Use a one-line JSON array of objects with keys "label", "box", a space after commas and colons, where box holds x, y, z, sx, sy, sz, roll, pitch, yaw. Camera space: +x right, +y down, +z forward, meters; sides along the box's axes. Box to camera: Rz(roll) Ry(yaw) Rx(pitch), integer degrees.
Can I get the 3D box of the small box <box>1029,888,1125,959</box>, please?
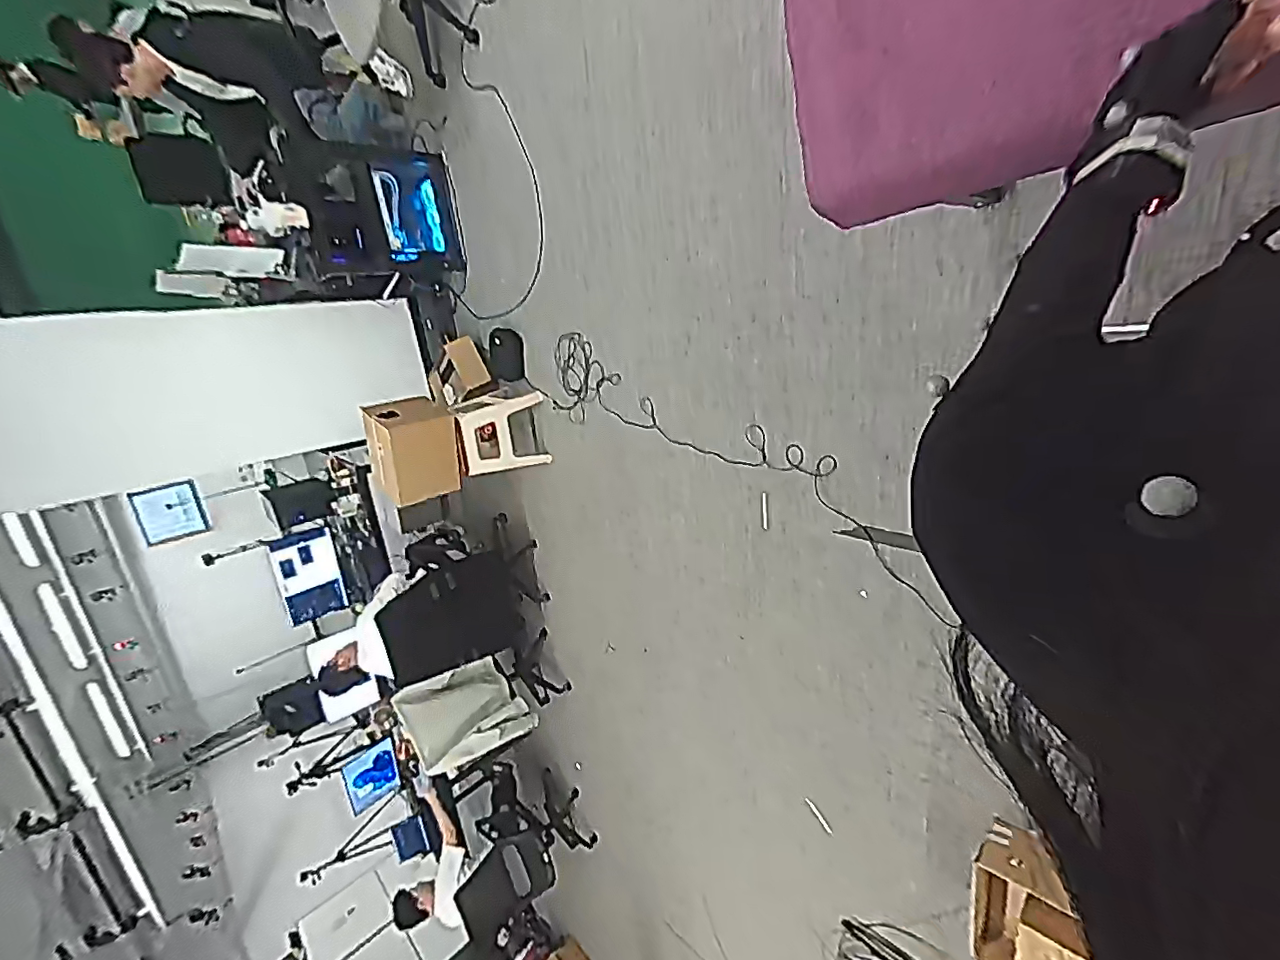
[{"label": "small box", "box": [1.179, 1.261, 1.460, 0.179, 0.176, 0.168, 7, 112, 45]}]
